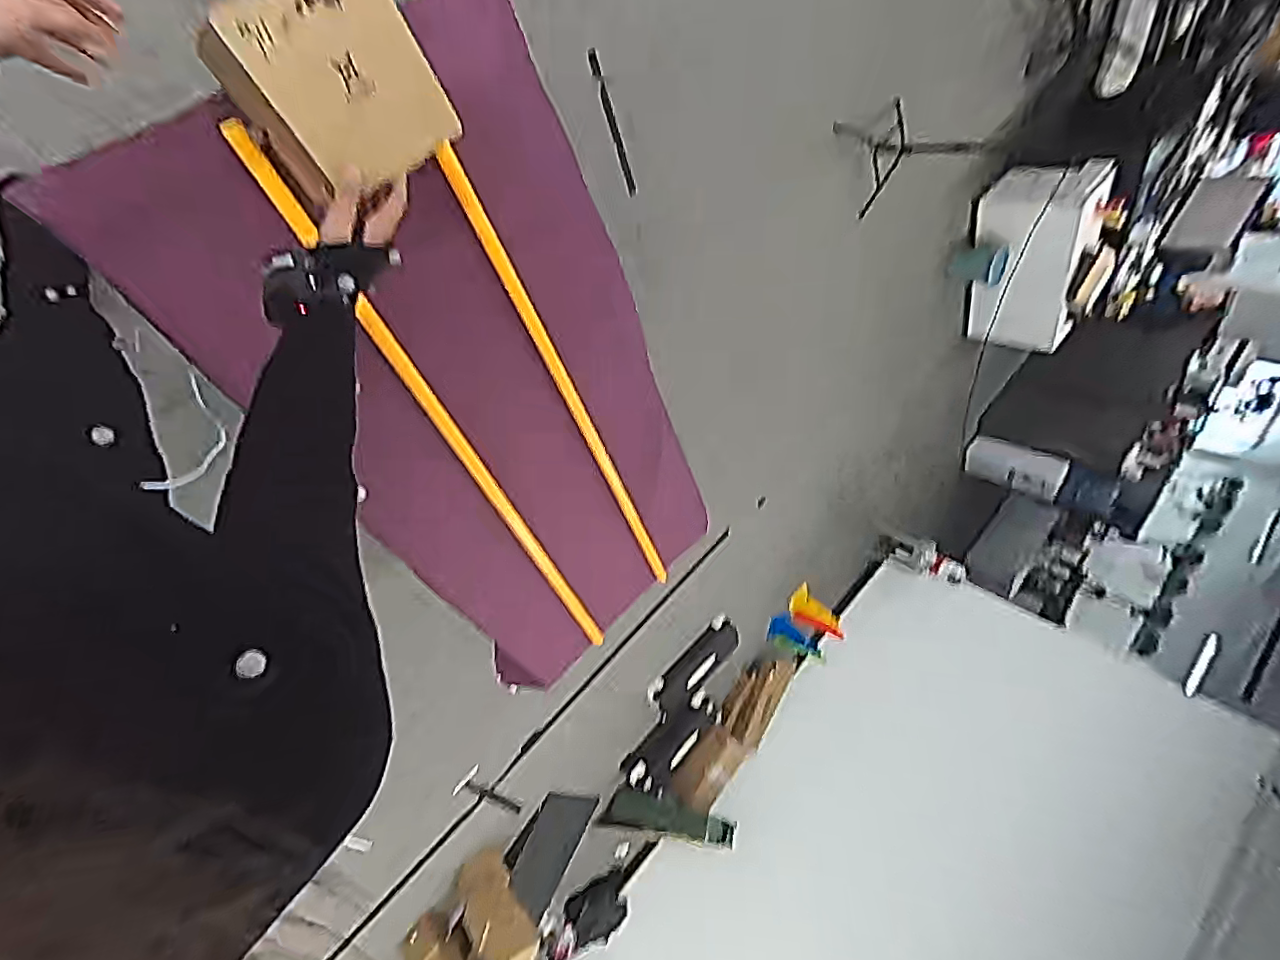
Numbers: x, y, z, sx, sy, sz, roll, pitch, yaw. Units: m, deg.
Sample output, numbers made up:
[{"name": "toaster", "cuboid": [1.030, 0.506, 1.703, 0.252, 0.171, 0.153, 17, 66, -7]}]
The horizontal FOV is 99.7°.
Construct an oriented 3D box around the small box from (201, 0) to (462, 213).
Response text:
[{"name": "small box", "cuboid": [-0.343, -0.432, 0.609, 0.168, 0.176, 0.179, -45, 136, -16]}]
